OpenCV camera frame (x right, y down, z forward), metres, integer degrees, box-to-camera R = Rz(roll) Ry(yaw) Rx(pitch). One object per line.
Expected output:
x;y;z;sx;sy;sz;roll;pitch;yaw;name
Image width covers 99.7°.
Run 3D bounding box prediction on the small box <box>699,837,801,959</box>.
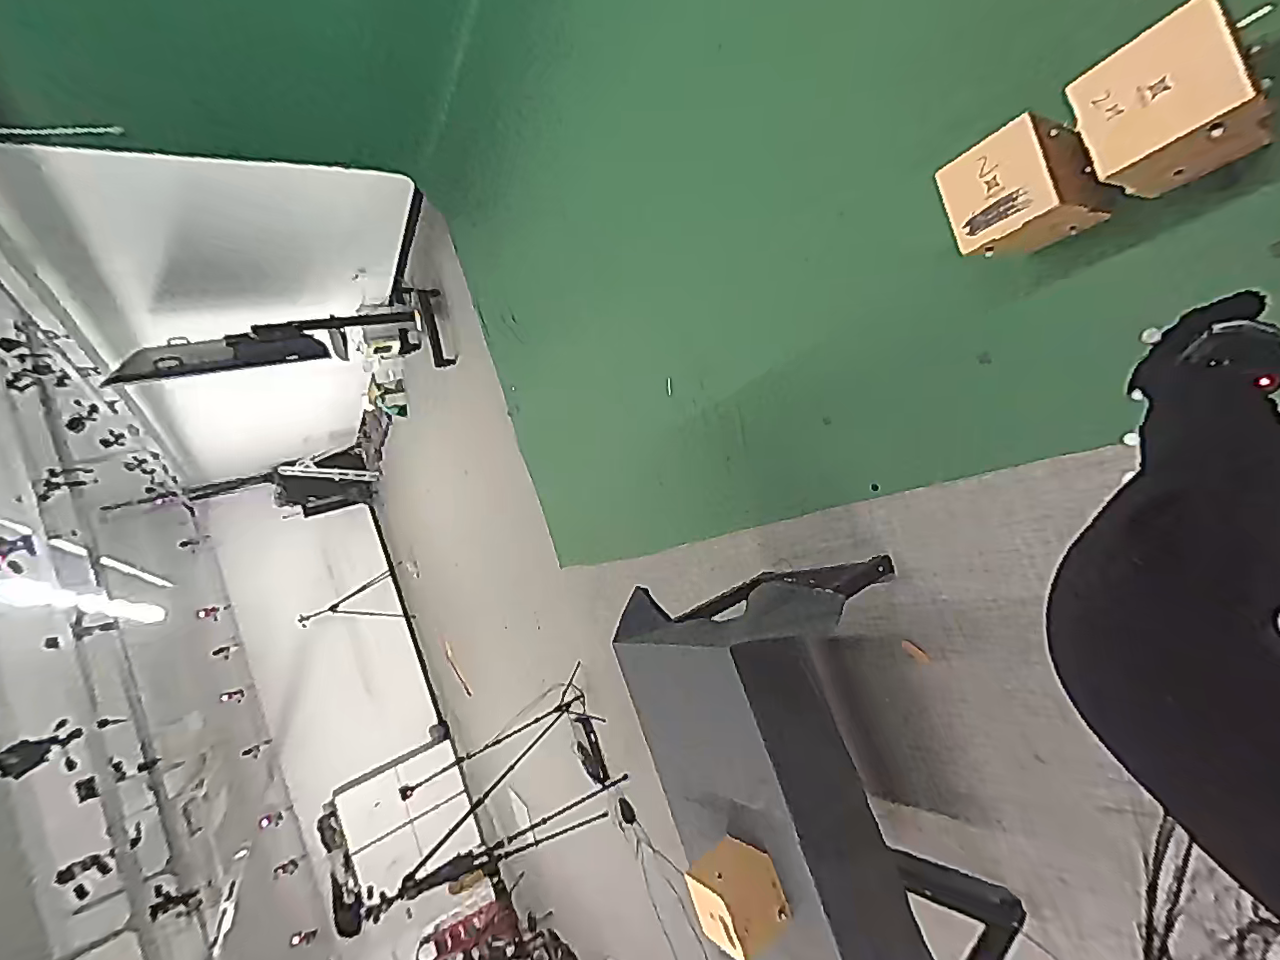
0.288;1.063;1.389;0.179;0.176;0.168;-27;82;58;small box
